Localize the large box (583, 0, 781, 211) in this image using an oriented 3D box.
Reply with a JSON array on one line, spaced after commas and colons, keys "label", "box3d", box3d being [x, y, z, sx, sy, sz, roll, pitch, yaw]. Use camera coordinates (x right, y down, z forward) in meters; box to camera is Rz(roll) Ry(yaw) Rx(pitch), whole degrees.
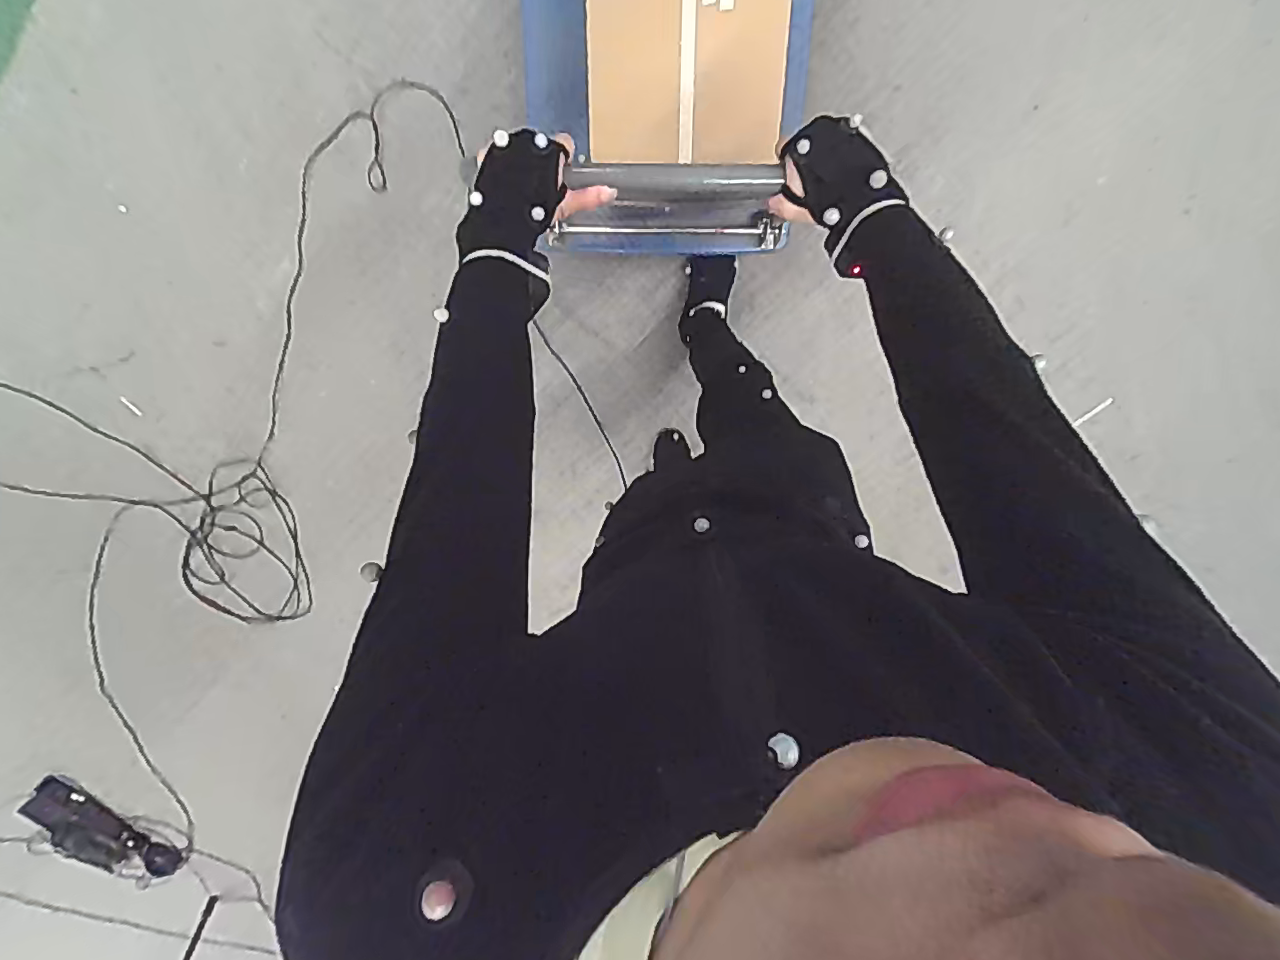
[{"label": "large box", "box3d": [0.073, -0.740, 1.004, 0.320, 0.320, 0.408, 1, 111, 1]}]
